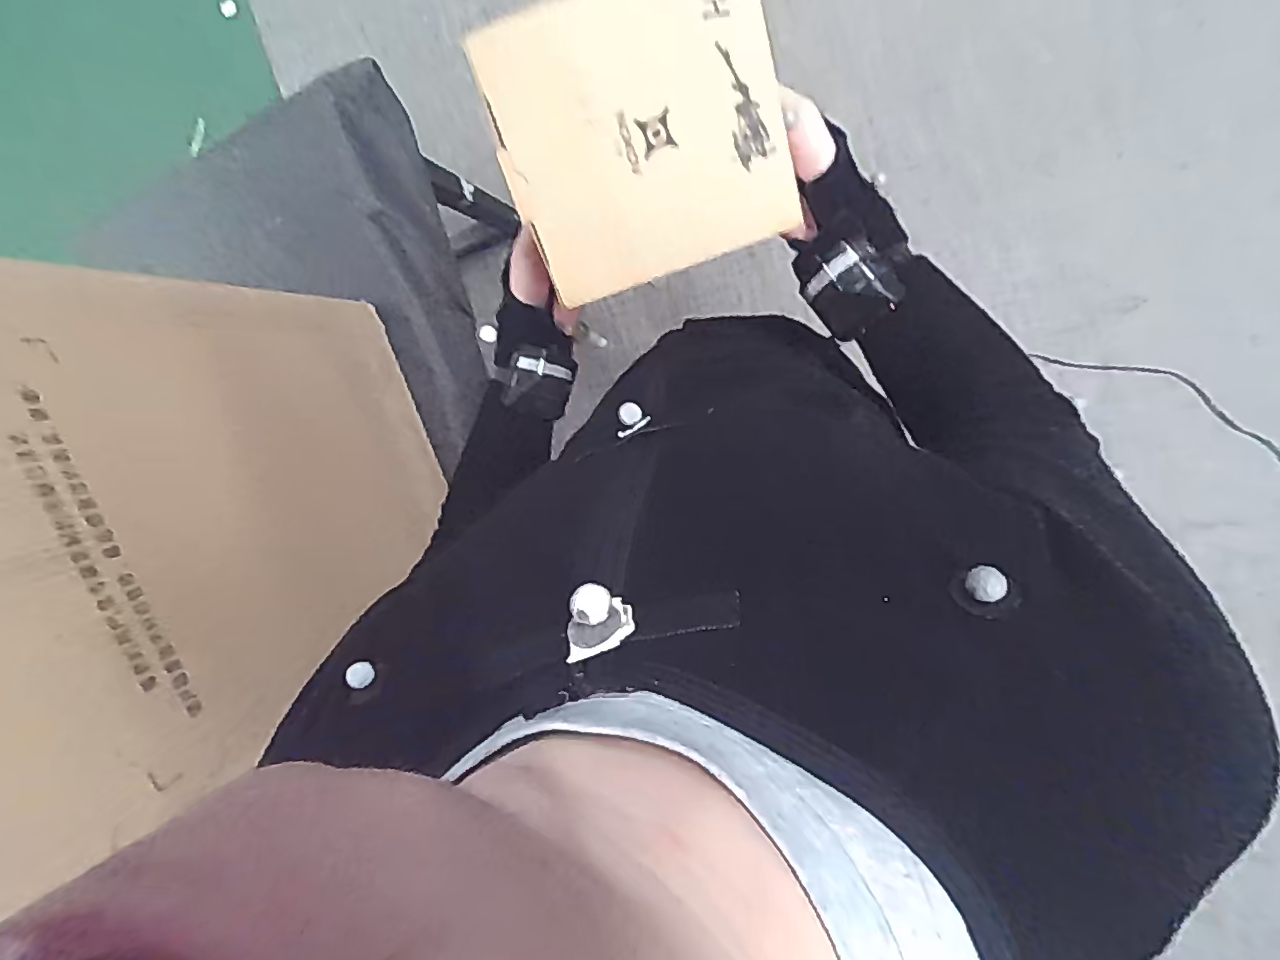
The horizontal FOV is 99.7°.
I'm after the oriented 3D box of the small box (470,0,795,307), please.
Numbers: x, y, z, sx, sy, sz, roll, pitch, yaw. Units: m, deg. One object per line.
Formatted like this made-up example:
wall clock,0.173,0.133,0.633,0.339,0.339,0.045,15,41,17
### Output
small box,0.002,-0.248,0.422,0.179,0.176,0.168,-17,113,8
